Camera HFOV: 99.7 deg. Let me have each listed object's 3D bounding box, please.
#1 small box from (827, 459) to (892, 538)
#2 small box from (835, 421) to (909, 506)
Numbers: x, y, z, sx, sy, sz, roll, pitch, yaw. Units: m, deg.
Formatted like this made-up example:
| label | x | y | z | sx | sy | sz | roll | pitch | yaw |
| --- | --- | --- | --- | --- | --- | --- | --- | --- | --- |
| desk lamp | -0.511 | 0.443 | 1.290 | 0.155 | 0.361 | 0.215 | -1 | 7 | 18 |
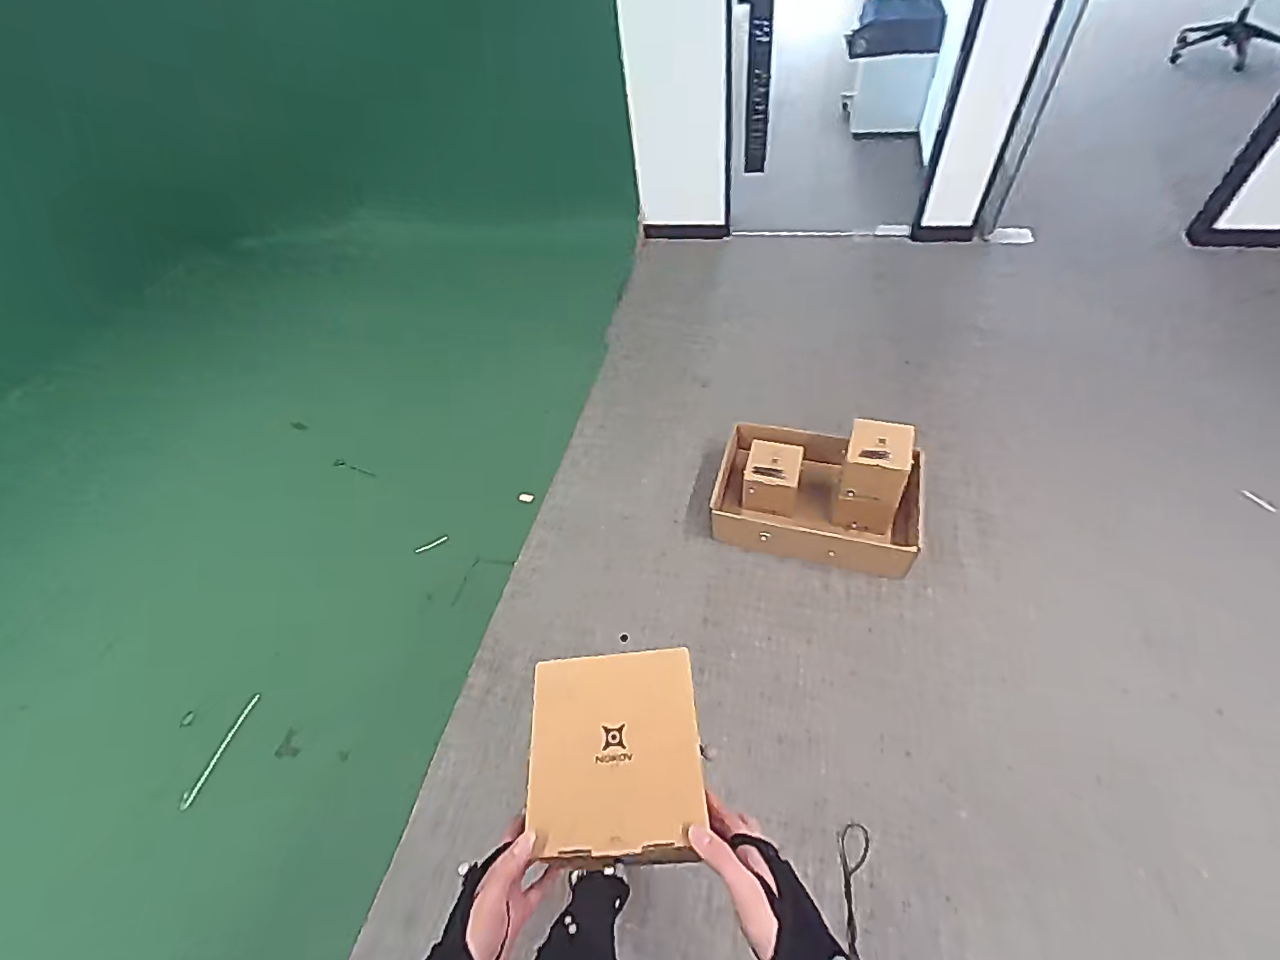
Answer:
| label | x | y | z | sx | sy | sz | roll | pitch | yaw |
| --- | --- | --- | --- | --- | --- | --- | --- | --- | --- |
| small box | 0.699 | 0.055 | 1.718 | 0.168 | 0.176 | 0.179 | 10 | 55 | 17 |
| small box | 0.679 | -0.046 | 1.590 | 0.168 | 0.176 | 0.179 | 12 | 53 | 18 |
